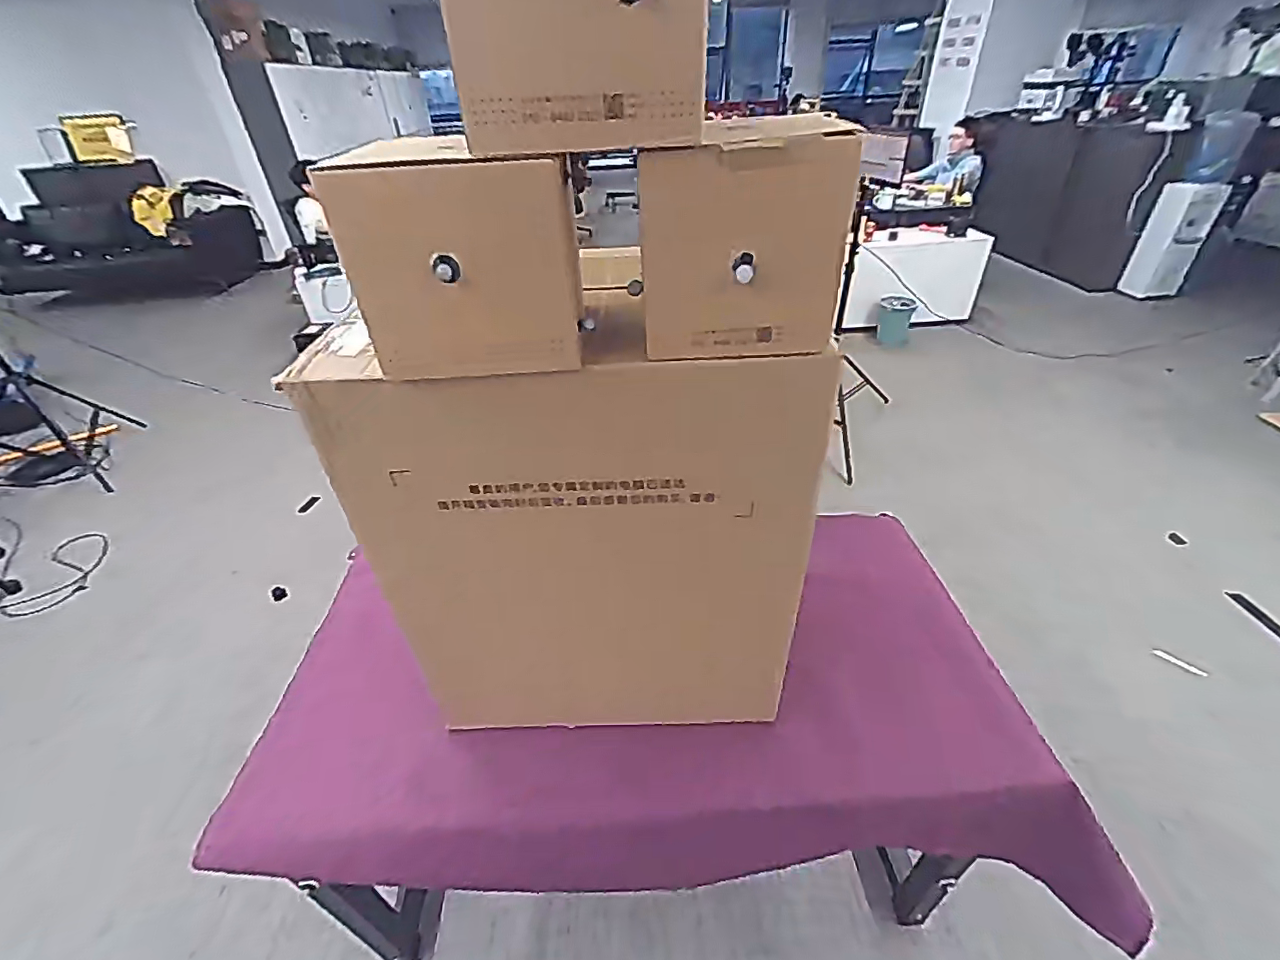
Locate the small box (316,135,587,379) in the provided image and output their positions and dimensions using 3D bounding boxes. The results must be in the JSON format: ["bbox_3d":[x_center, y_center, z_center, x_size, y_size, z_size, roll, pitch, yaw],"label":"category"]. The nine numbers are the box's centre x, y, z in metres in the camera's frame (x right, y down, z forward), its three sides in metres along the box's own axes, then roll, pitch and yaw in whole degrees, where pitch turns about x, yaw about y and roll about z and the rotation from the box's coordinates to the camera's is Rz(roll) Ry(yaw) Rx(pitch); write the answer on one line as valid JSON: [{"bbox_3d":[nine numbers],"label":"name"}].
[{"bbox_3d":[-0.143,-0.206,0.494,0.179,0.176,0.168,-5,37,0],"label":"small box"}]

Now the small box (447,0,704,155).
[{"bbox_3d":[-0.040,-0.346,0.403,0.168,0.176,0.179,-2,36,0],"label":"small box"}]

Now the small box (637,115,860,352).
[{"bbox_3d":[0.085,-0.228,0.506,0.168,0.176,0.179,-2,38,2],"label":"small box"}]
